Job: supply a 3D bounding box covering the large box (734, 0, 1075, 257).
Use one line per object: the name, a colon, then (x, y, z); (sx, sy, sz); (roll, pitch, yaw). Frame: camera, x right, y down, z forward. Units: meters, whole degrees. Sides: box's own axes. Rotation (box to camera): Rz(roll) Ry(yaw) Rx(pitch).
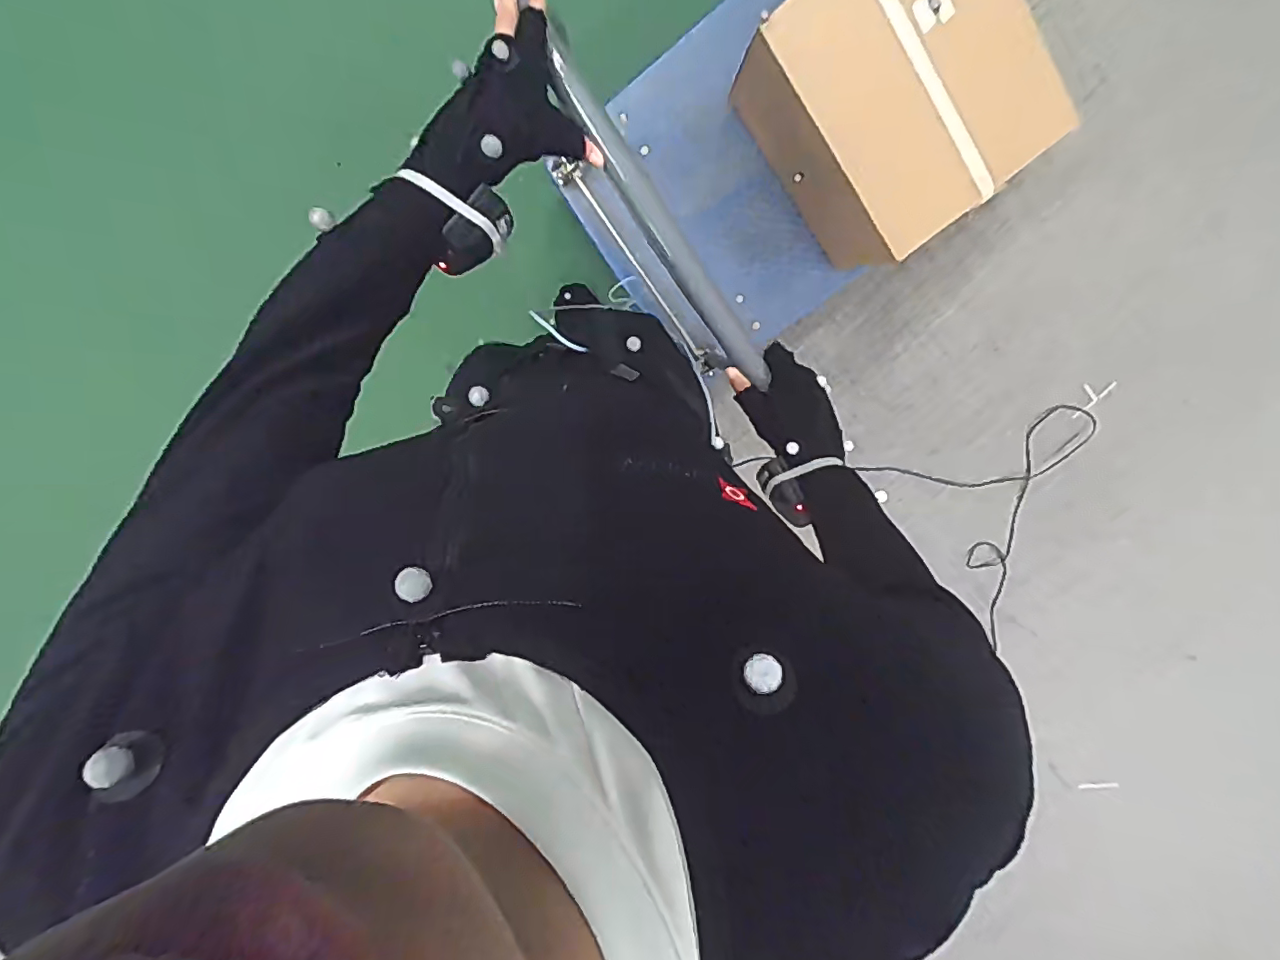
large box: (0.416, -0.655, 0.934); (0.320, 0.320, 0.408); (-37, 105, 12)
